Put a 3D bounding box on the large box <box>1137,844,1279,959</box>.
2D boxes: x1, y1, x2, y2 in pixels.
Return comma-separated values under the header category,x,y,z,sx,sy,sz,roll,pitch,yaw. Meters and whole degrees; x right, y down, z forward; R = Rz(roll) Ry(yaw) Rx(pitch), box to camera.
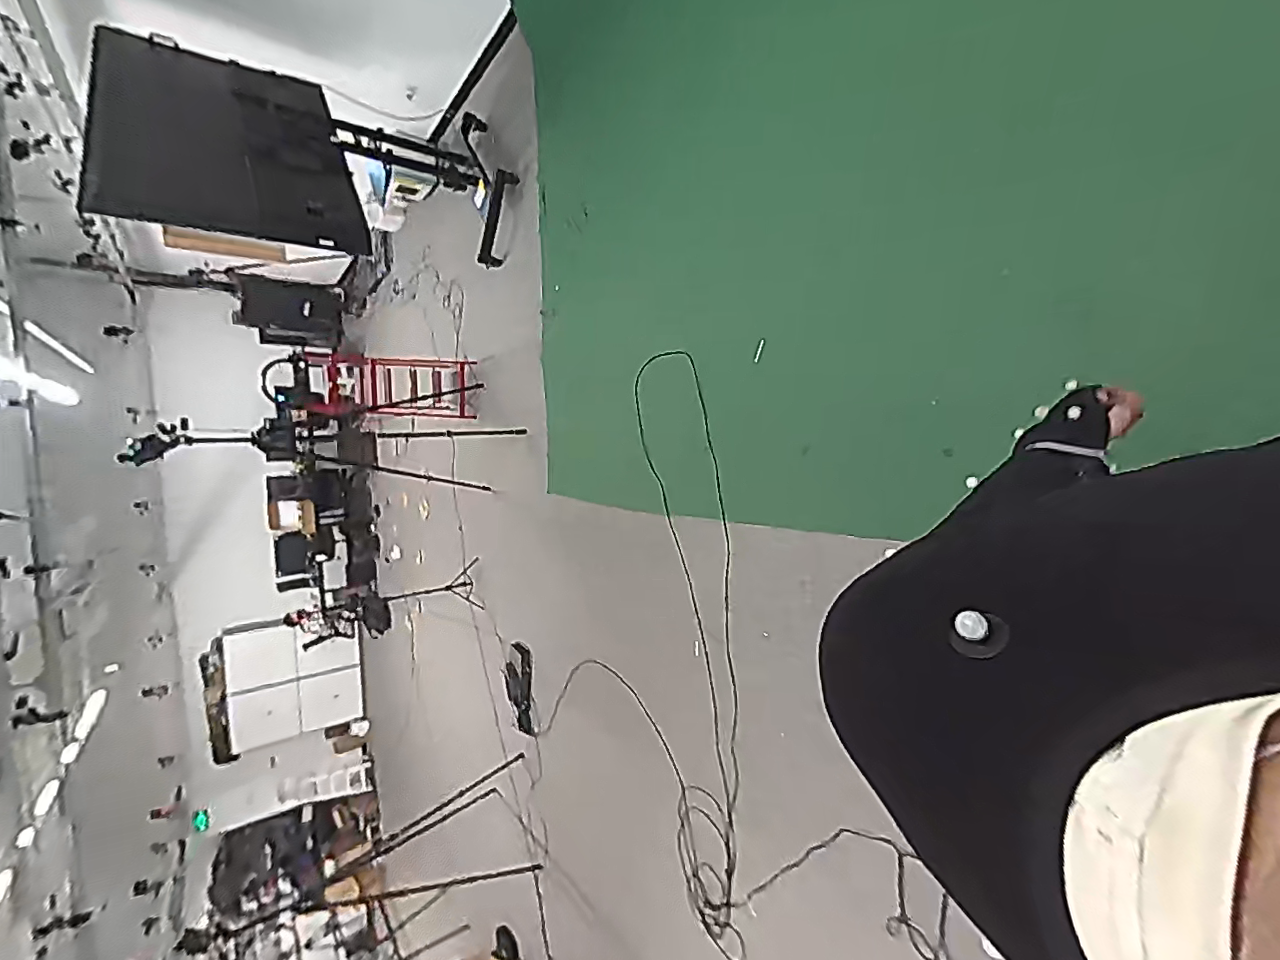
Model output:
category,x,y,z,sx,sy,sz,roll,pitch,yaw
large box,1.238,0.997,1.019,0.408,0.320,0.320,0,94,52
